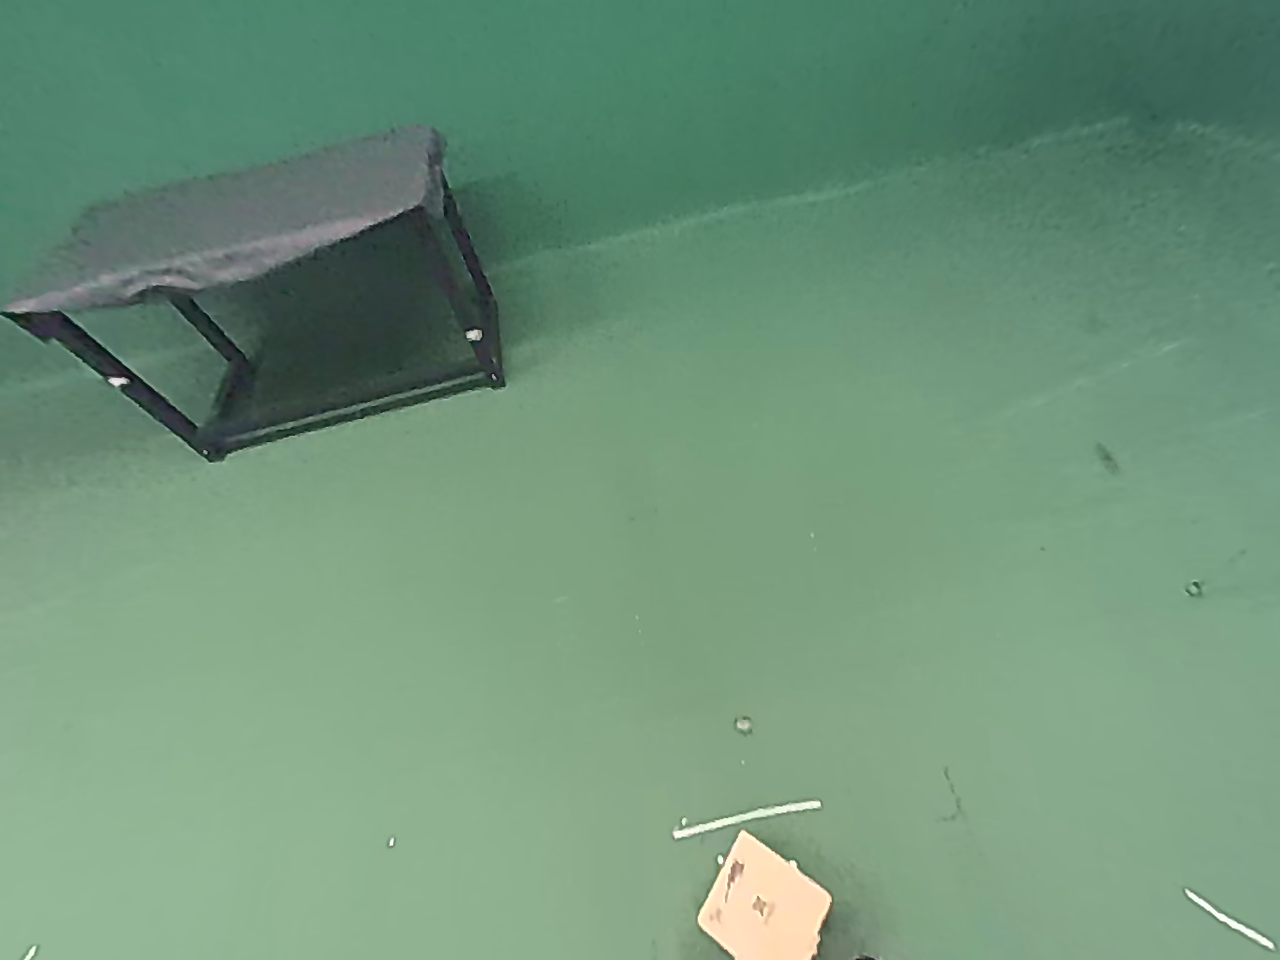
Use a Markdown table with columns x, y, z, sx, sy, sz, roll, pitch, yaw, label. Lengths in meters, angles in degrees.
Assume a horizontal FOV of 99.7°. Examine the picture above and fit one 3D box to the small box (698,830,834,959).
| x | y | z | sx | sy | sz | roll | pitch | yaw | label |
| --- | --- | --- | --- | --- | --- | --- | --- | --- | --- |
| 0.224 | 0.773 | 0.977 | 0.179 | 0.176 | 0.168 | 26 | 61 | 27 | small box |
